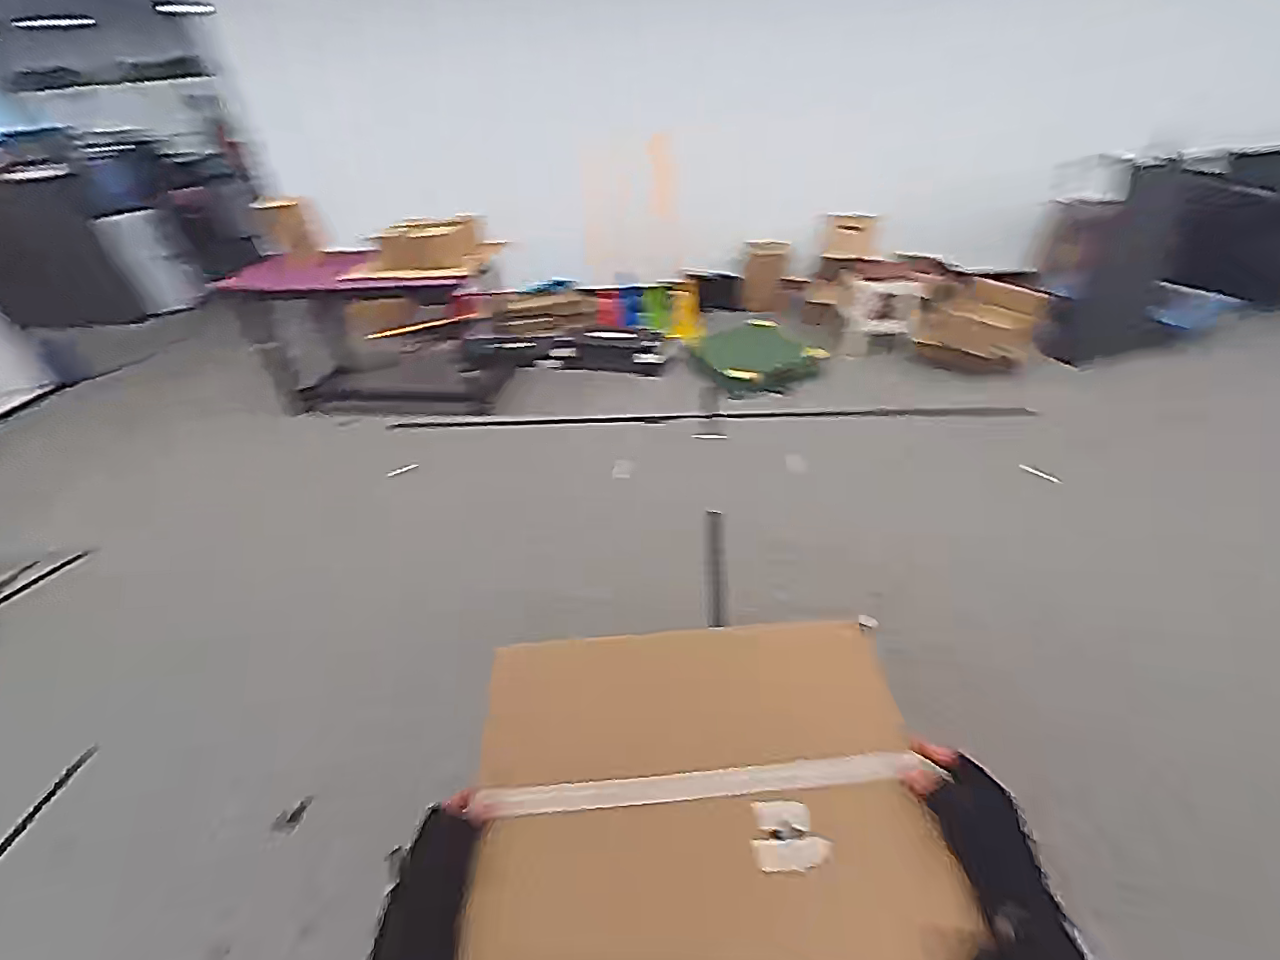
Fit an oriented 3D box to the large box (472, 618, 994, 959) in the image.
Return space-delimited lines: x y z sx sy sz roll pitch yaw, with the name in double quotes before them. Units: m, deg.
"large box" 0.061 0.386 0.602 0.408 0.320 0.320 -4 45 -2
